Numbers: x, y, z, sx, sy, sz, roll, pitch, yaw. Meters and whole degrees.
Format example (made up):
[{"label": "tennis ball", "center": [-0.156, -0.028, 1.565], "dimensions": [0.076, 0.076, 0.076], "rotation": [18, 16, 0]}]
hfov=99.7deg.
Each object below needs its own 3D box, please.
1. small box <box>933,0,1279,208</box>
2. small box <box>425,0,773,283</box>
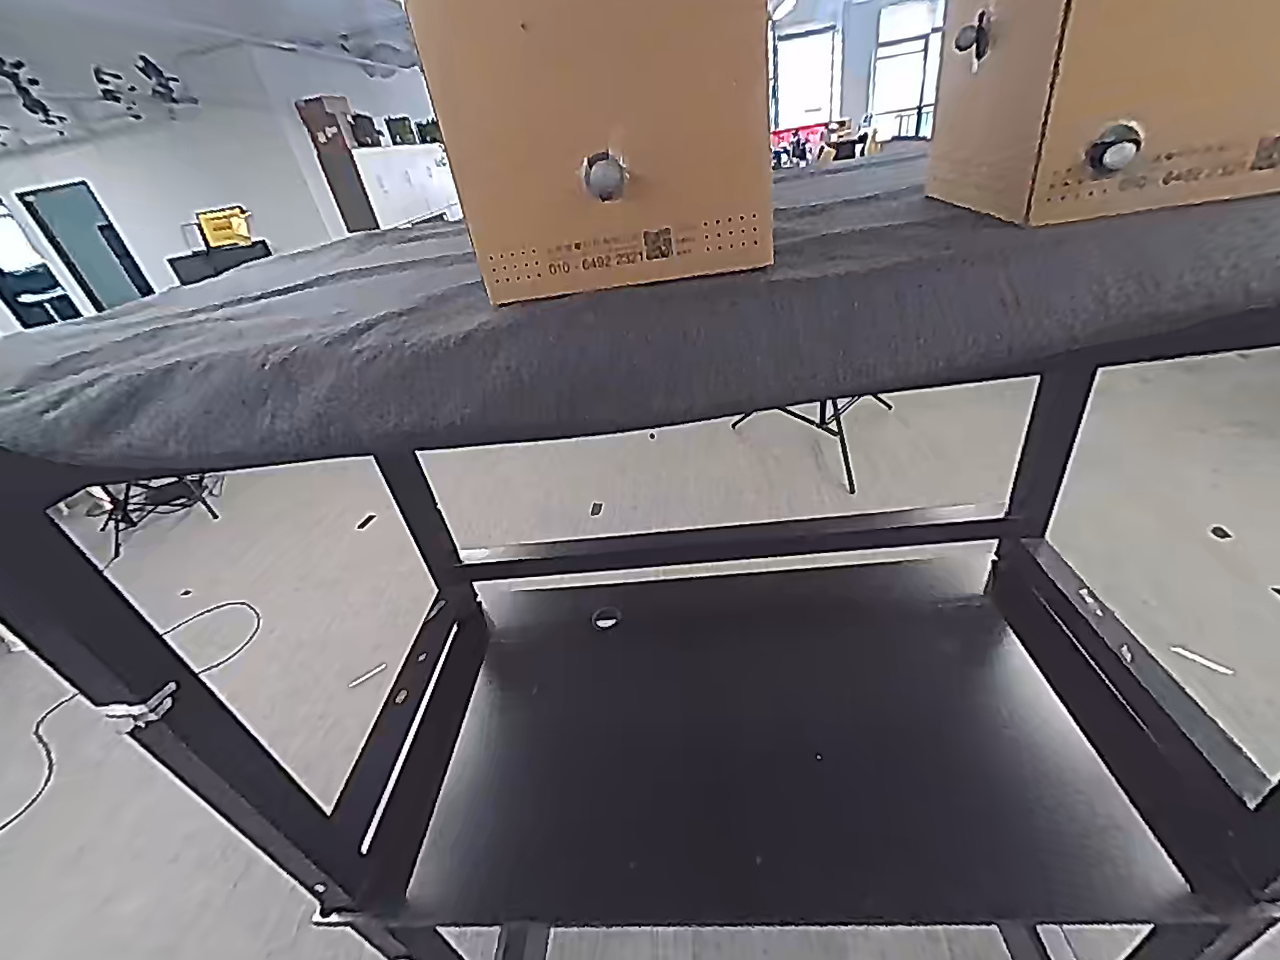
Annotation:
[{"label": "small box", "center": [0.284, -0.259, 0.302], "dimensions": [0.168, 0.176, 0.179], "rotation": [-4, 31, 11]}, {"label": "small box", "center": [-0.012, -0.229, 0.335], "dimensions": [0.168, 0.176, 0.179], "rotation": [-5, 30, 8]}]
